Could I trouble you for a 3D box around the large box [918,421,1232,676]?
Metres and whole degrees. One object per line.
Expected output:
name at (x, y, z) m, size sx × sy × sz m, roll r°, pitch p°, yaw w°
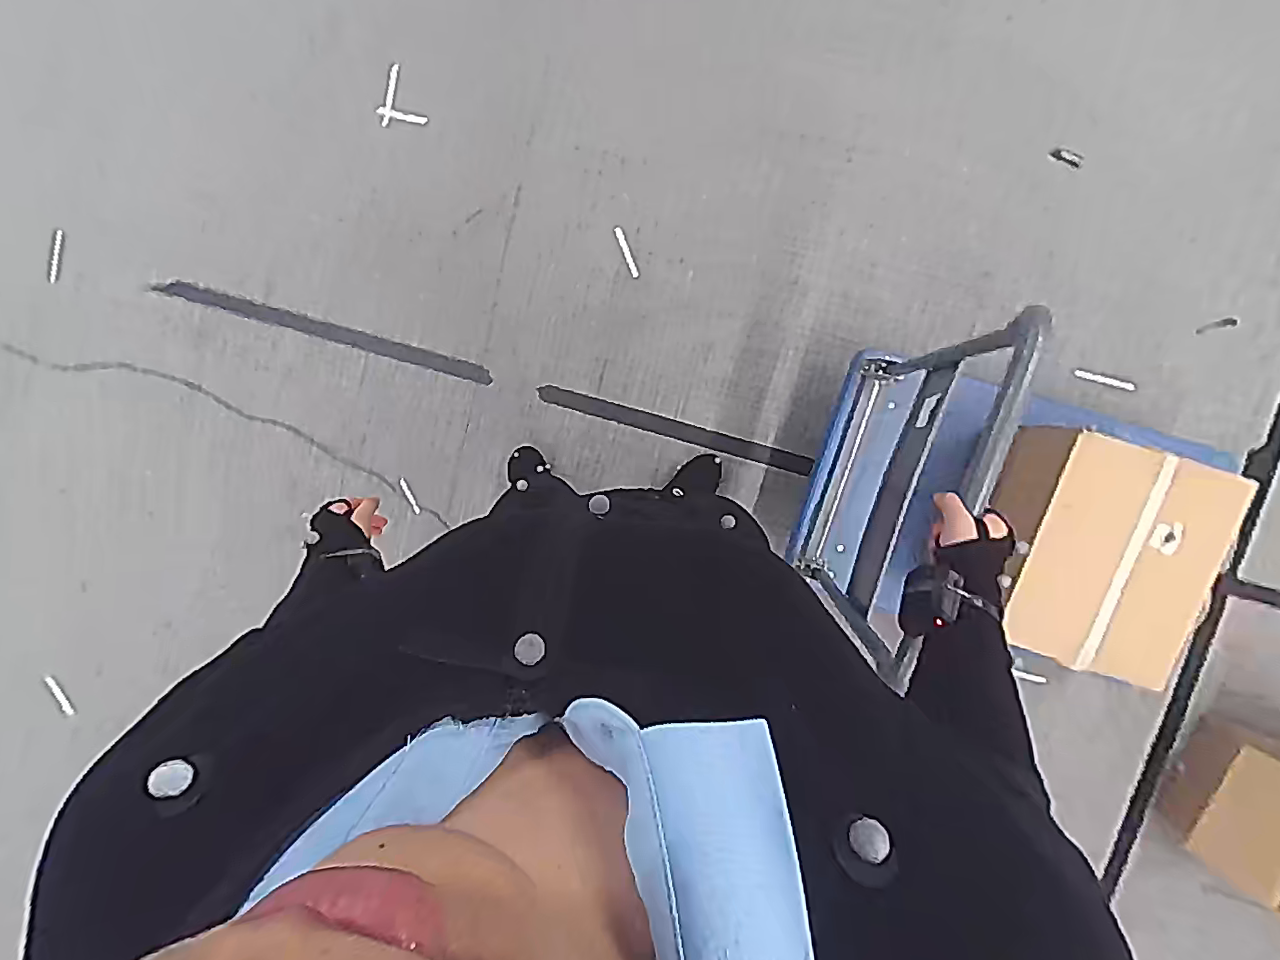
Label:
large box at (0.850, 0.117, 1.122) m, size 0.320 × 0.320 × 0.408 m, roll 18°, pitch 96°, yaw 1°
